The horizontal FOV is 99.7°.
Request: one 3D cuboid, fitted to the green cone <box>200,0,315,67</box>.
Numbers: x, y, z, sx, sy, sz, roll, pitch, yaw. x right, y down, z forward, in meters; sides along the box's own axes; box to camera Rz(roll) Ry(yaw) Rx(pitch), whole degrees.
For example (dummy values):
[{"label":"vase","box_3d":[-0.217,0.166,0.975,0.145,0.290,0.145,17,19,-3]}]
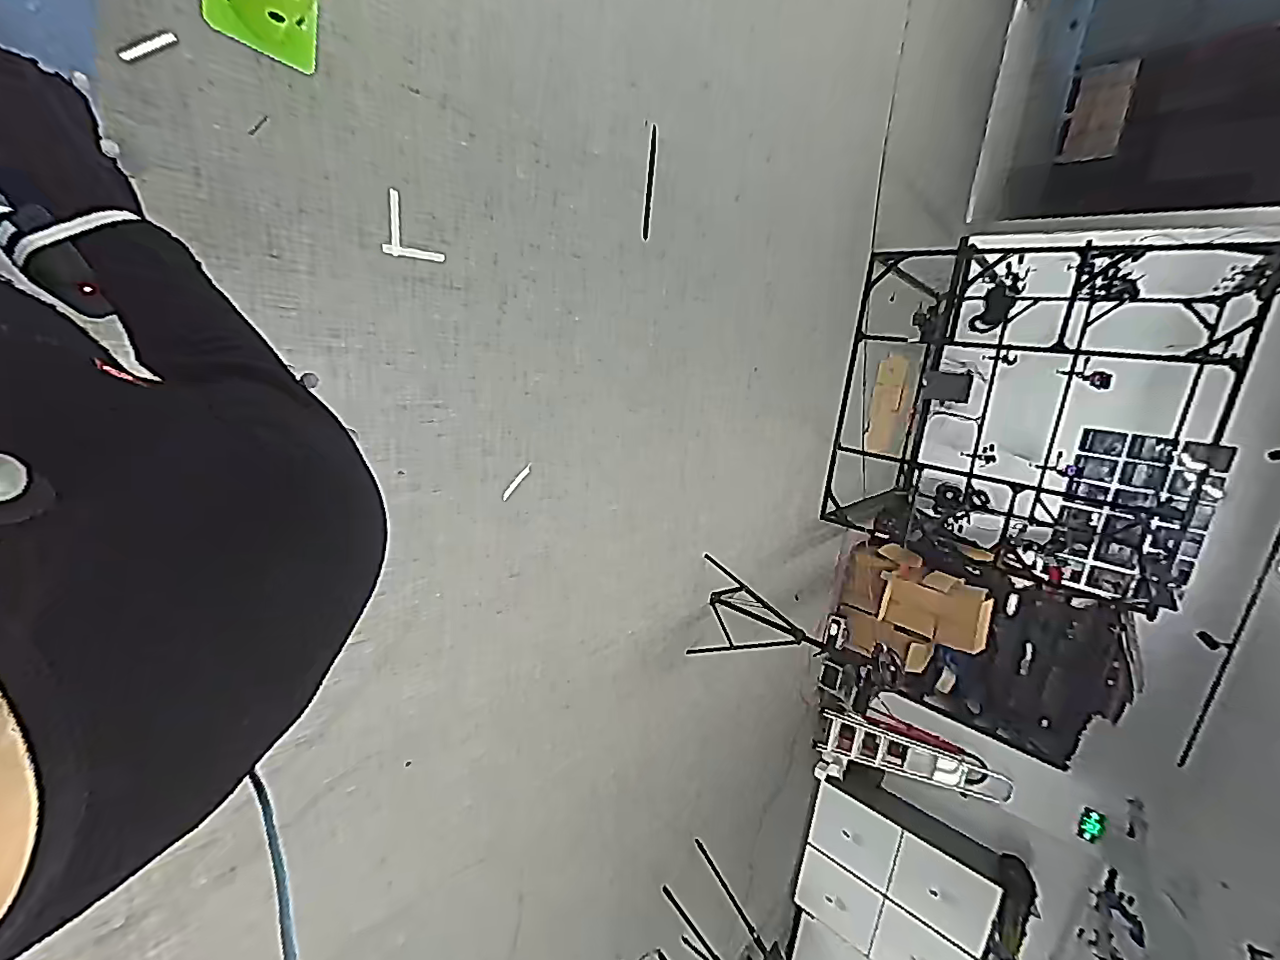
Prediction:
[{"label":"green cone","box_3d":[-0.647,-0.959,1.004,0.202,0.368,0.200,-4,107,-51]}]
